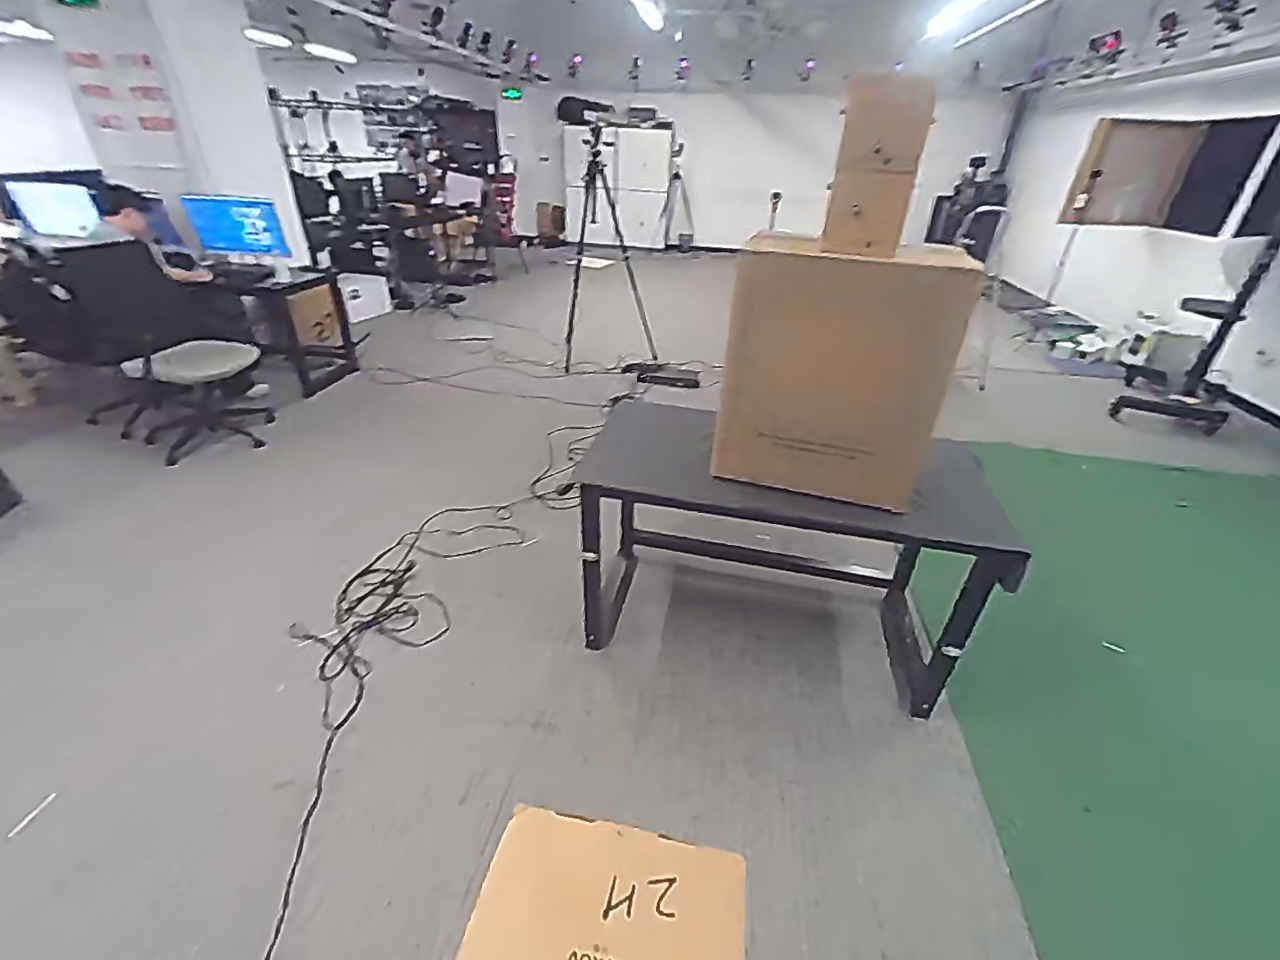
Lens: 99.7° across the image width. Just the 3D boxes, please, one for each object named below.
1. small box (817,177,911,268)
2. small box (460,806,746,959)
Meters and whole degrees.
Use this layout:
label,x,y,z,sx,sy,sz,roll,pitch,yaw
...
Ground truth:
label,x,y,z,sx,sy,sz,roll,pitch,yaw
small box,0.510,-0.594,1.244,0.168,0.176,0.179,12,34,15
small box,-0.028,0.357,0.346,0.168,0.176,0.179,8,31,8
